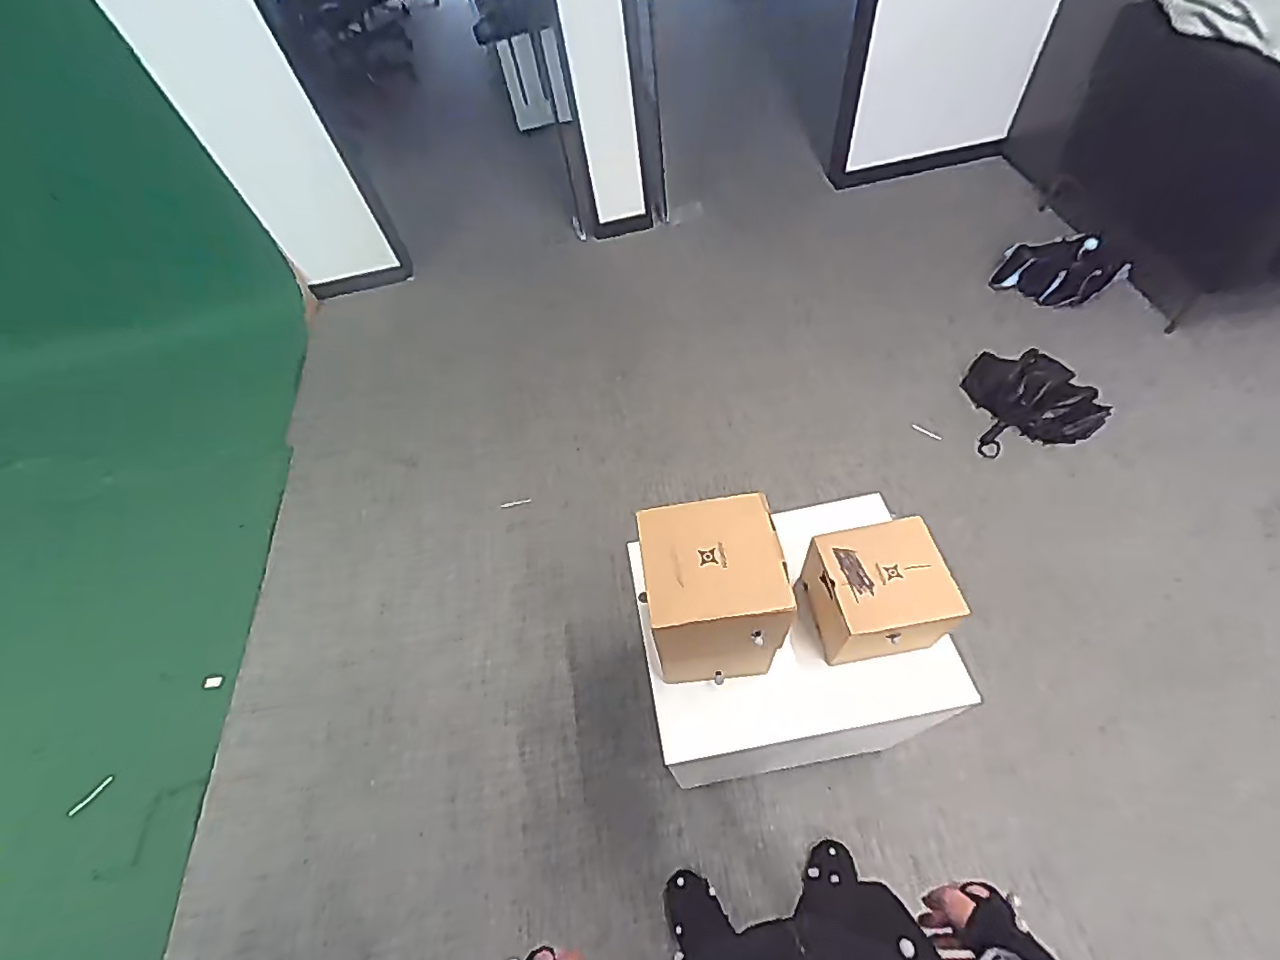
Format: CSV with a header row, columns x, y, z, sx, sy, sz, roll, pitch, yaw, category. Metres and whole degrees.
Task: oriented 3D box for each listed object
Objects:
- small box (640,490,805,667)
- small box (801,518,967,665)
x,y,z,sx,sy,sz,roll,pitch,yaw,category
0.100,0.136,0.726,0.179,0.176,0.168,-9,54,-1,small box
0.371,0.184,0.869,0.179,0.176,0.168,-10,56,-2,small box
